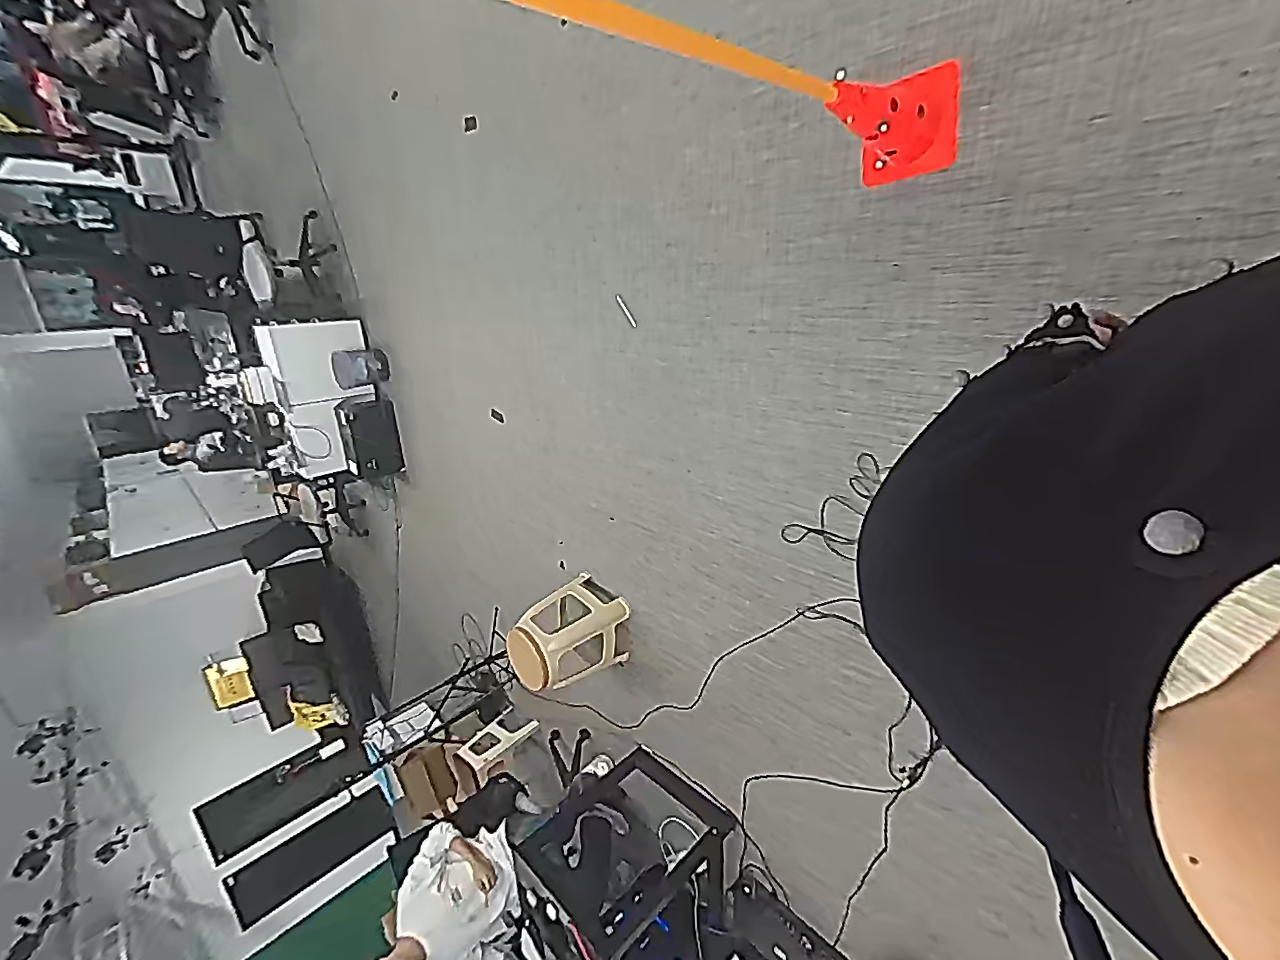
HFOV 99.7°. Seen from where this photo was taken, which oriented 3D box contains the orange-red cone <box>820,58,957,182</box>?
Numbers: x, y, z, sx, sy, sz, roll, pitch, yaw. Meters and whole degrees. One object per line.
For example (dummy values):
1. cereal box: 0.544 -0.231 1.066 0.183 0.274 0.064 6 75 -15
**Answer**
1. orange-red cone: 0.455 -0.727 1.060 0.199 0.360 0.198 10 113 44
